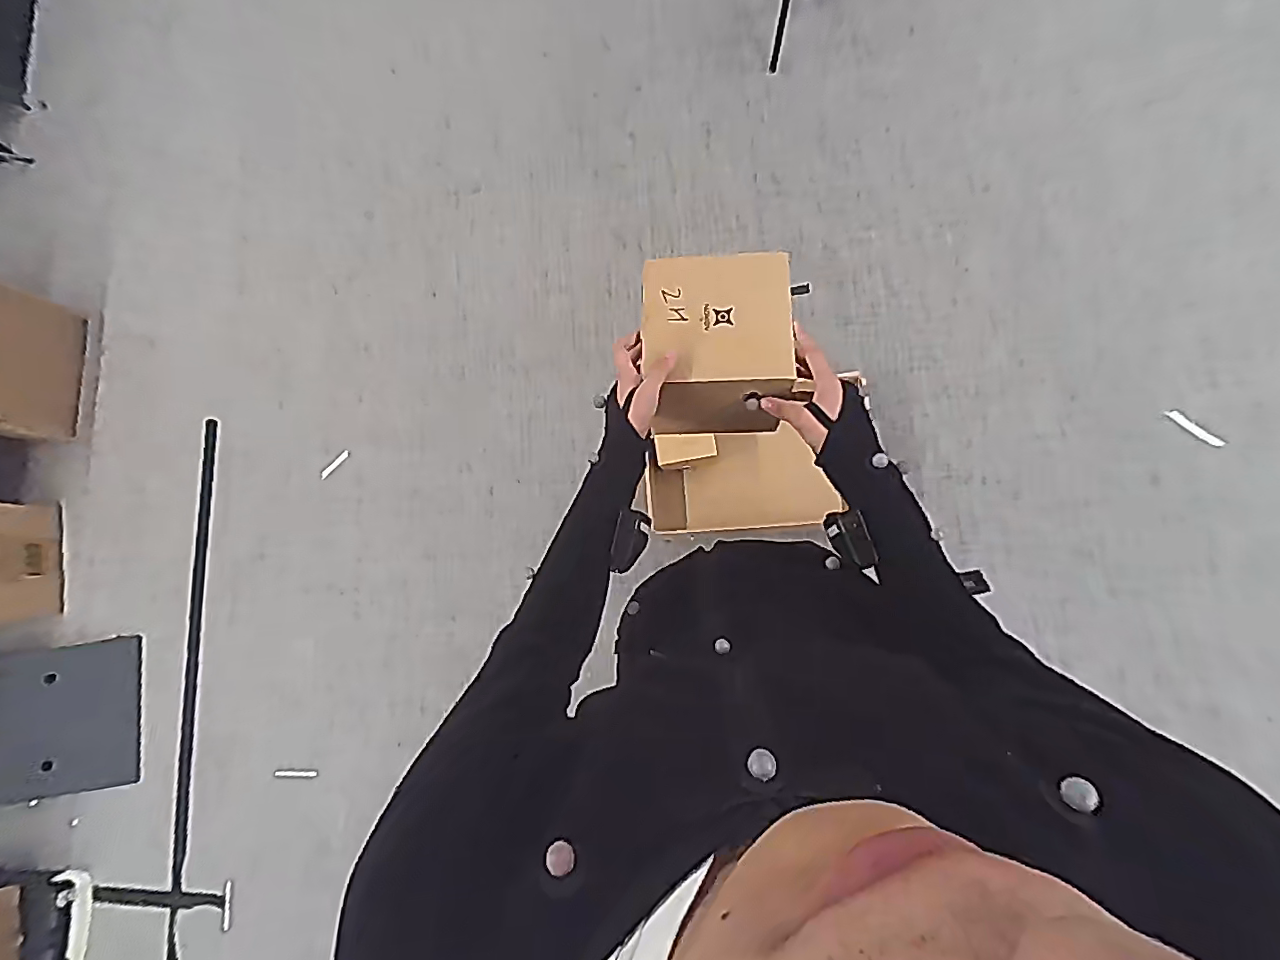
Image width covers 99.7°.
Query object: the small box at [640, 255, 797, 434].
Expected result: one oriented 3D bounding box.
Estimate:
[{"bbox_3d":[0.095,-0.164,0.696,0.179,0.176,0.168,-1,75,6],"label":"small box"}]
